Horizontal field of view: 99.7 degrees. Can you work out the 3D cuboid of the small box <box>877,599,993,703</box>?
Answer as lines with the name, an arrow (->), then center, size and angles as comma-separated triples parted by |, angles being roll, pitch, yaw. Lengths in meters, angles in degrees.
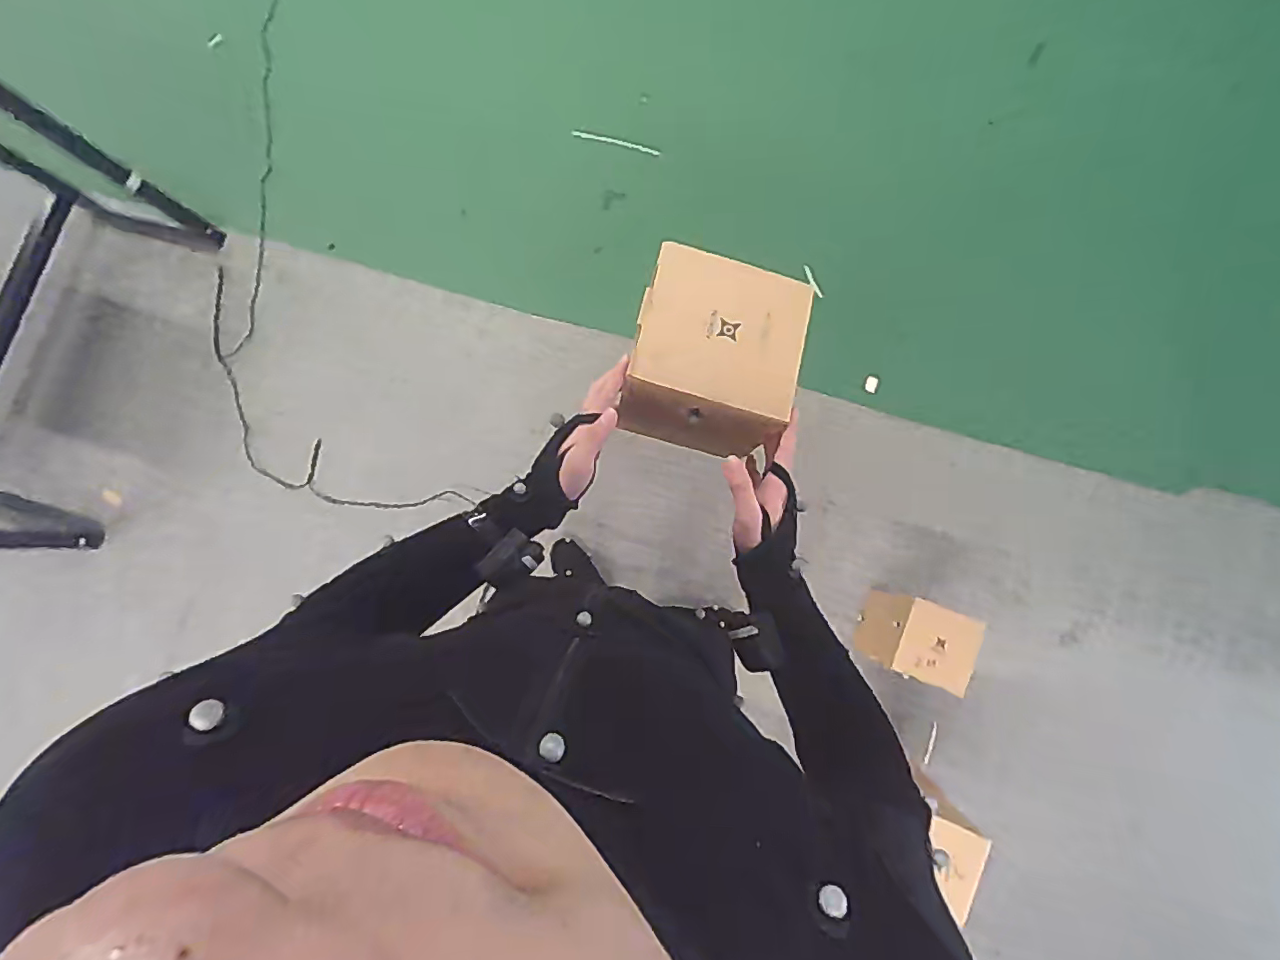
small box -> 0.694, 0.397, 1.294 | 0.168, 0.176, 0.179 | 22, 85, 9

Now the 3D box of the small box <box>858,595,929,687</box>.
small box -> 0.708, 0.426, 1.456 | 0.168, 0.176, 0.179 | 21, 85, 8

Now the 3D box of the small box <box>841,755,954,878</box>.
small box -> 0.587, 0.766, 1.256 | 0.179, 0.176, 0.168 | 15, 84, 8

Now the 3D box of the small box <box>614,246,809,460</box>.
small box -> 0.073, -0.135, 0.638 | 0.179, 0.176, 0.168 | 15, 75, -4
